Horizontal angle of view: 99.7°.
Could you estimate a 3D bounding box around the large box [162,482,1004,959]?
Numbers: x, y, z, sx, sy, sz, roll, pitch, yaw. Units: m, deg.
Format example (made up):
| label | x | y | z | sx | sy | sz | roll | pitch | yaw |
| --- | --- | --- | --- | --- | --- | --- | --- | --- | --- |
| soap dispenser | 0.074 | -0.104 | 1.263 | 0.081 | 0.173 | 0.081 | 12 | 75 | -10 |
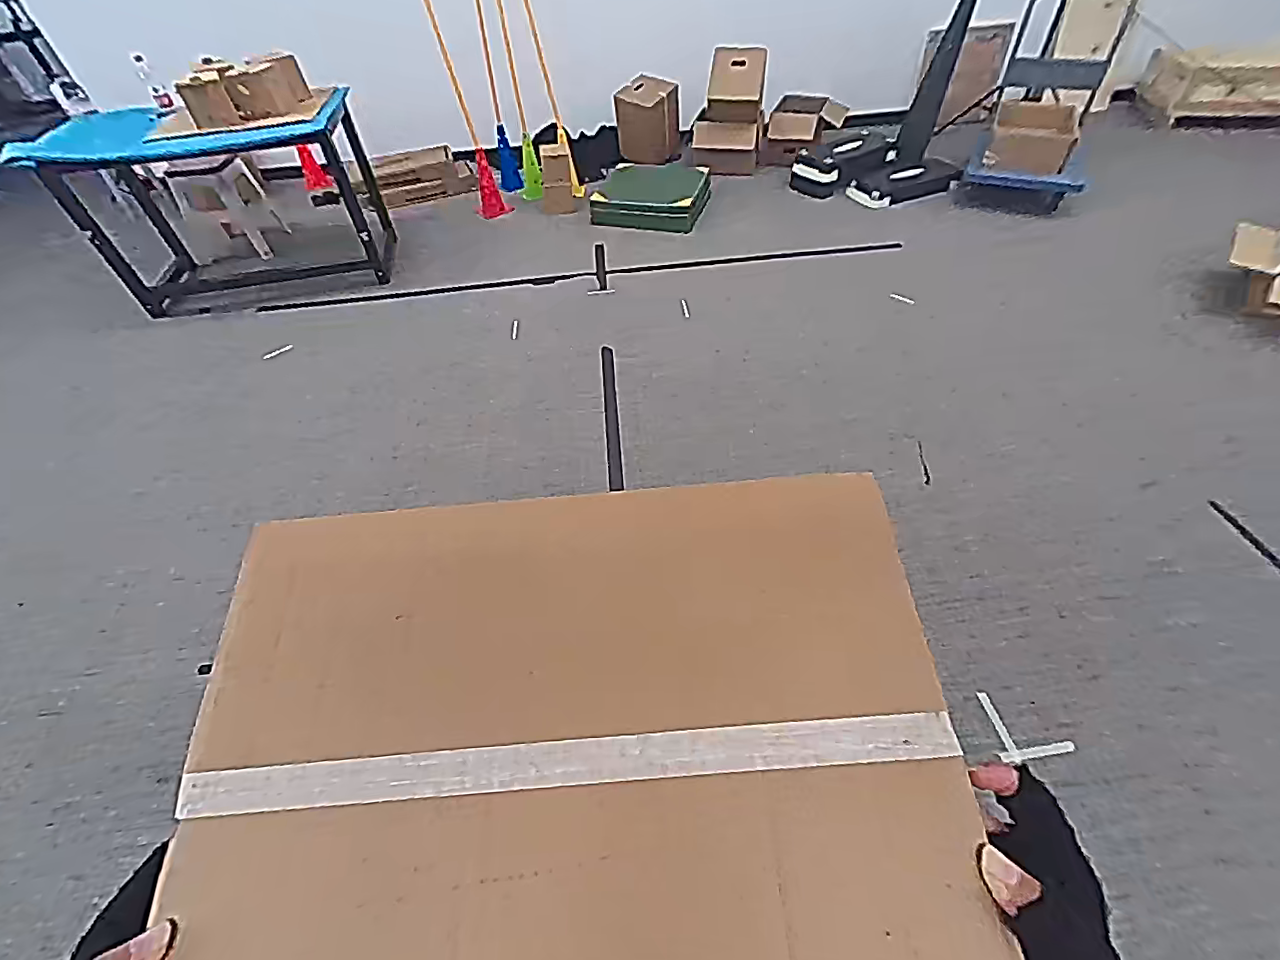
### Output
| label | x | y | z | sx | sy | sz | roll | pitch | yaw |
| --- | --- | --- | --- | --- | --- | --- | --- | --- | --- |
| large box | -0.031 | 0.223 | 0.424 | 0.408 | 0.320 | 0.320 | -5 | 63 | 1 |
